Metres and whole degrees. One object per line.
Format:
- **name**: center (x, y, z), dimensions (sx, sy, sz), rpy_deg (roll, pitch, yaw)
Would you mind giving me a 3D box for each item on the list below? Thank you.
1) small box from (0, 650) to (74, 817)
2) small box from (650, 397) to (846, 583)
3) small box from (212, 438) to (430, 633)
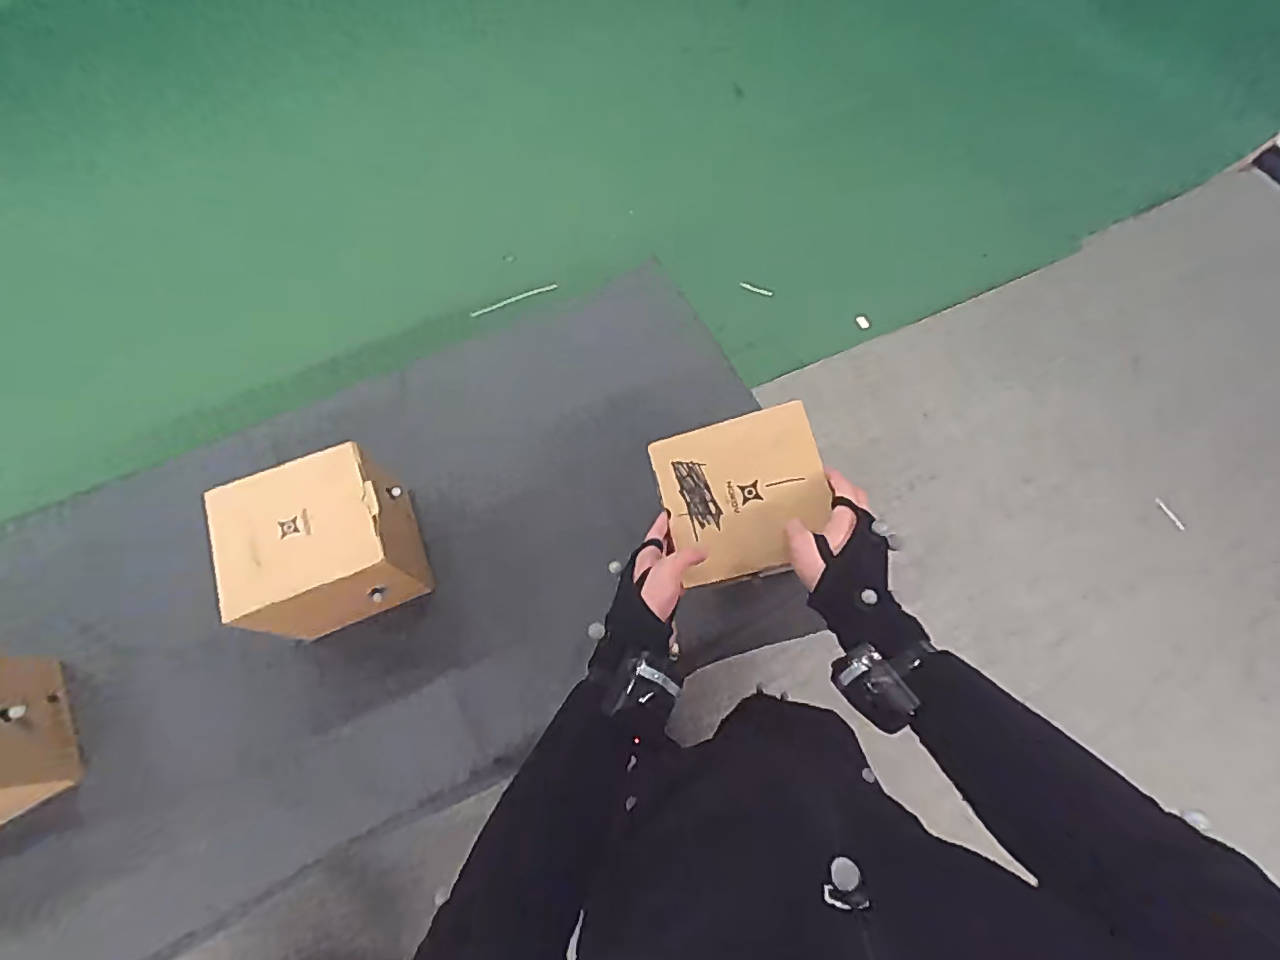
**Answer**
- **small box**: center (-0.783, 0.296, 0.589), dimensions (0.179, 0.176, 0.168), rpy_deg (-29, 71, -13)
- **small box**: center (0.128, 0.026, 0.642), dimensions (0.179, 0.176, 0.168), rpy_deg (-15, 75, 12)
- **small box**: center (-0.387, 0.078, 0.686), dimensions (0.179, 0.176, 0.168), rpy_deg (-22, 68, -8)
